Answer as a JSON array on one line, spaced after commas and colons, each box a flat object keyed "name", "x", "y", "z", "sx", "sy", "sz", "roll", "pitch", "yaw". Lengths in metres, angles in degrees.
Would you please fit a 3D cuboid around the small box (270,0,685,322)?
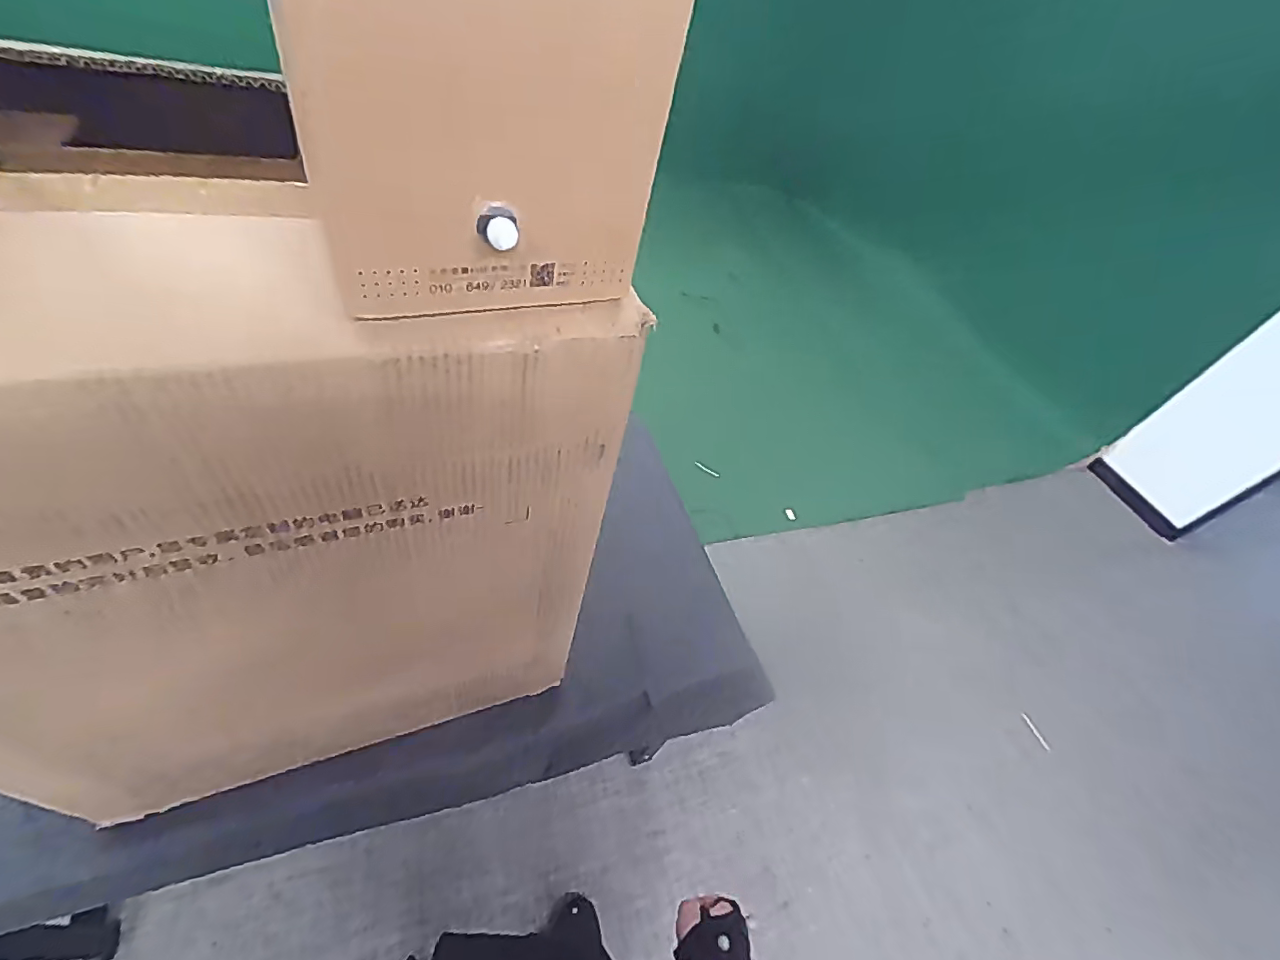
[{"name": "small box", "x": -0.104, "y": -0.213, "z": 0.307, "sx": 0.168, "sy": 0.176, "sz": 0.179, "roll": -15, "pitch": 56, "yaw": -26}]
